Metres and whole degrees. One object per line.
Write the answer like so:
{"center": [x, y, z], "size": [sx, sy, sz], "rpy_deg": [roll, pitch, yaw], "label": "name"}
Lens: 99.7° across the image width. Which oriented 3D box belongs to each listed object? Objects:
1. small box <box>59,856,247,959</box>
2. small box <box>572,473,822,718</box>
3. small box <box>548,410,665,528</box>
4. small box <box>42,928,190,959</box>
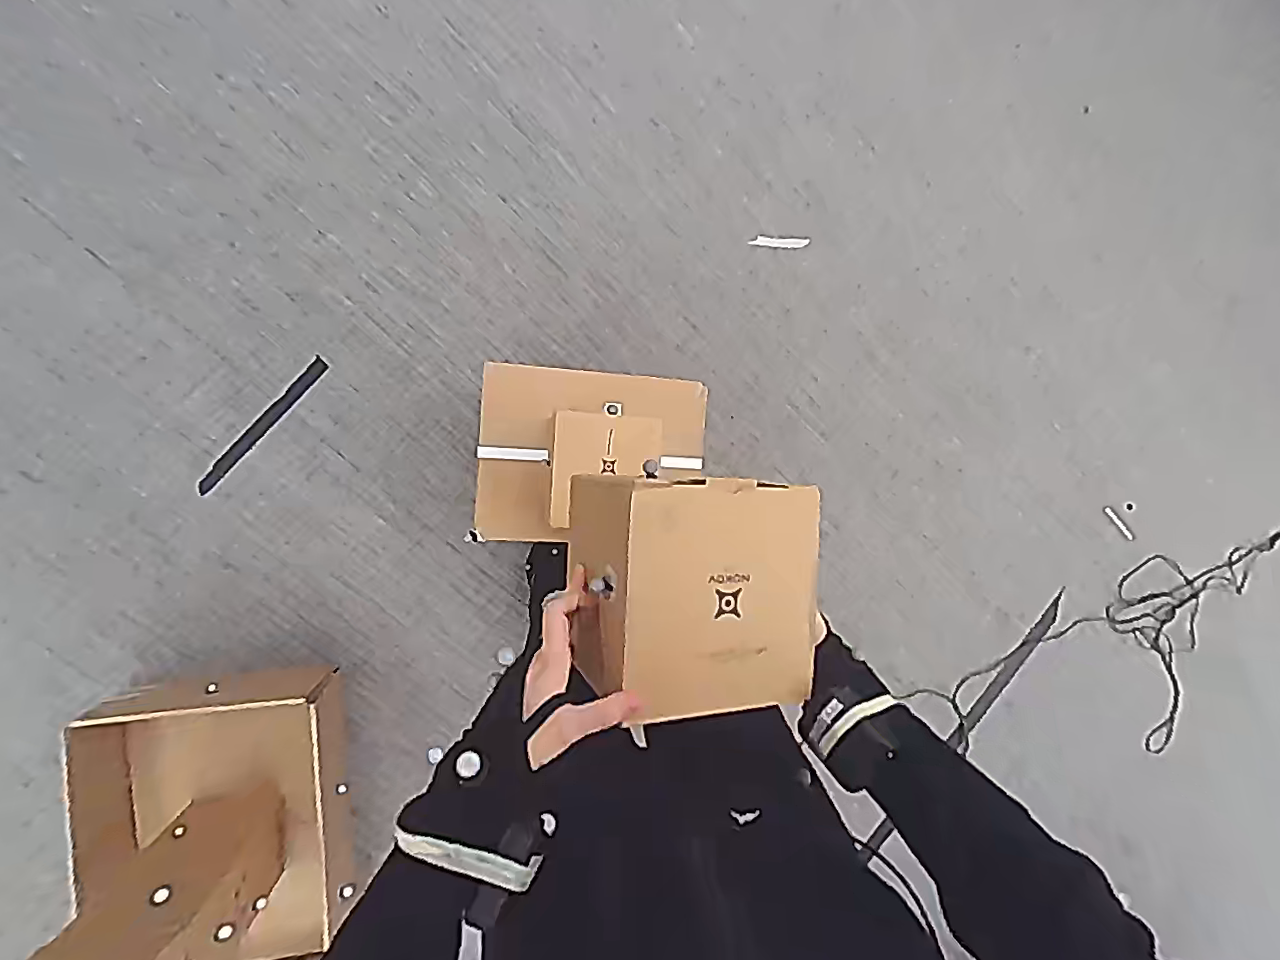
{"center": [-0.769, 0.744, 0.872], "size": [0.179, 0.176, 0.168], "rpy_deg": [2, 91, -12], "label": "small box"}
{"center": [0.039, 0.084, 0.486], "size": [0.168, 0.176, 0.179], "rpy_deg": [1, 92, -22], "label": "small box"}
{"center": [-0.062, -0.015, 0.889], "size": [0.168, 0.176, 0.179], "rpy_deg": [3, 91, -13], "label": "small box"}
{"center": [-0.744, 0.743, 0.710], "size": [0.179, 0.176, 0.168], "rpy_deg": [1, 91, -11], "label": "small box"}
